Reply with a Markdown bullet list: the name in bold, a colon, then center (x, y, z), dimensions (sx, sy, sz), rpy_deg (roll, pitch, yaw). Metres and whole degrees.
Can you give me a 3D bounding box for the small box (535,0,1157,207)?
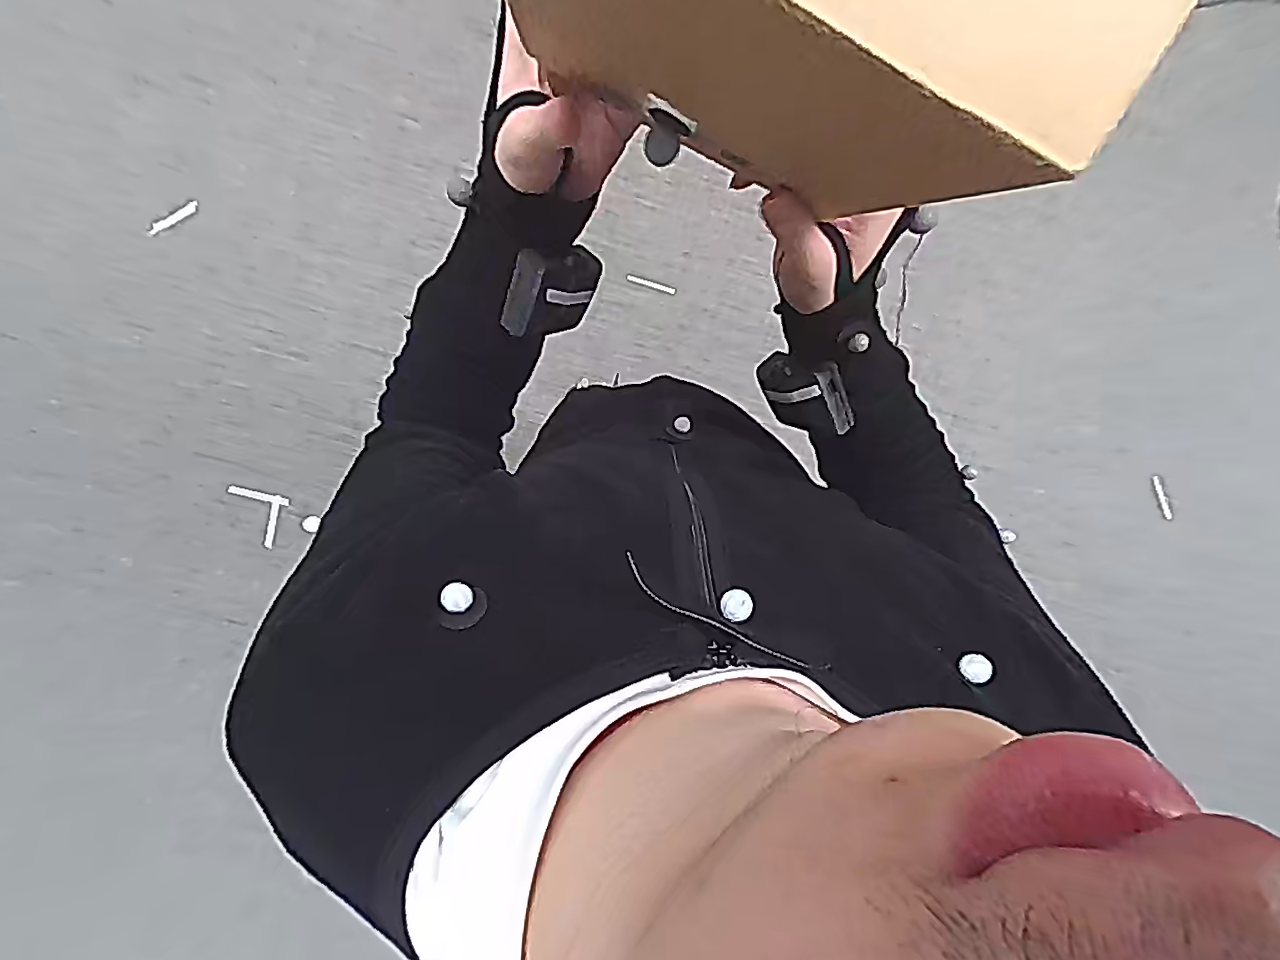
- **small box**: center (0.062, -0.214, 0.176), dimensions (0.168, 0.176, 0.179), rpy_deg (19, 111, -11)
